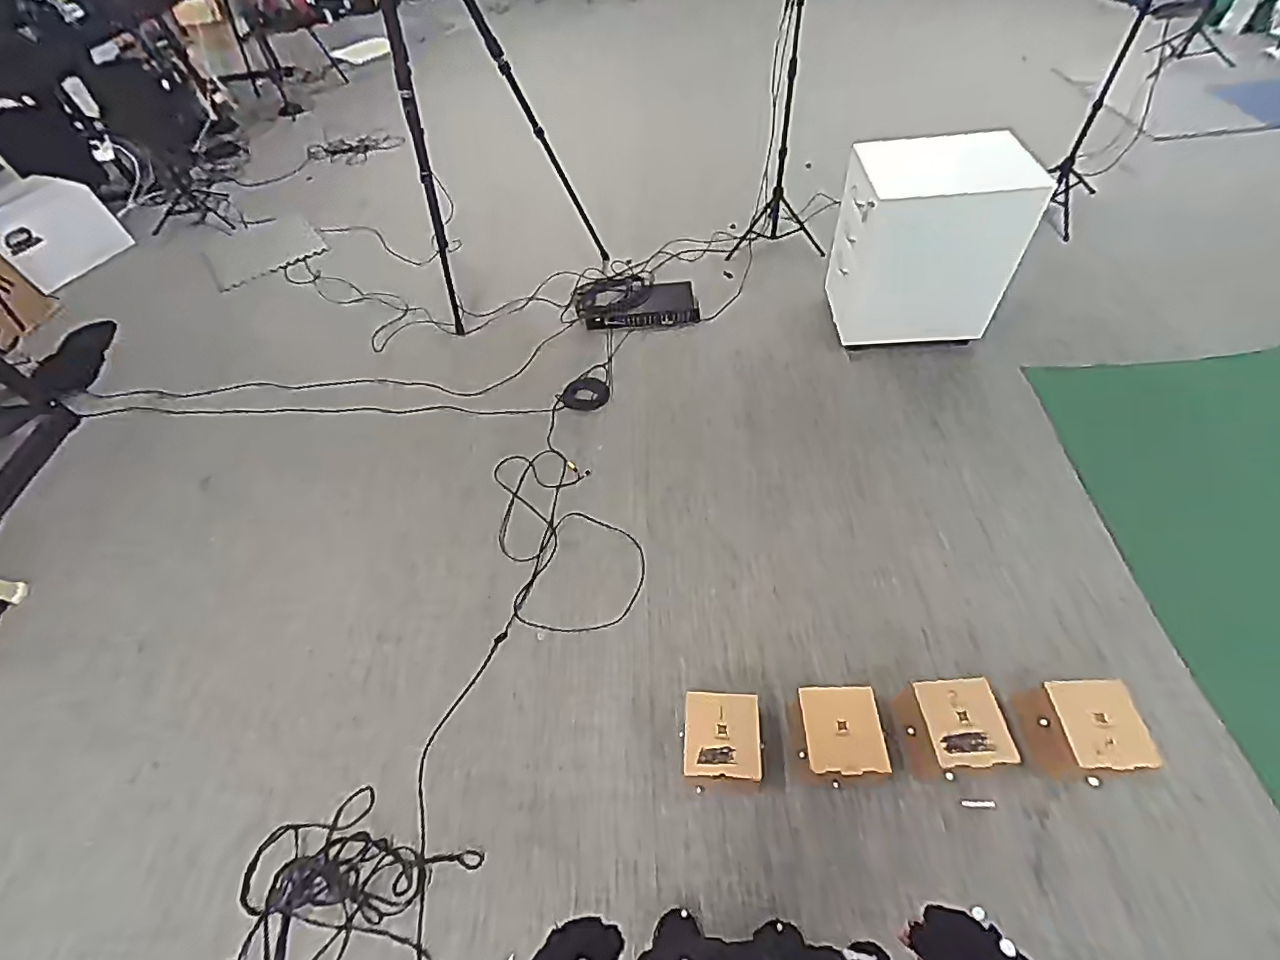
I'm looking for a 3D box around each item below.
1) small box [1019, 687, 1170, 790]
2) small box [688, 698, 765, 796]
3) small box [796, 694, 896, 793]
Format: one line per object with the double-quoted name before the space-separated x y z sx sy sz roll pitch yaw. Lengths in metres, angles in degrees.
"small box" 0.989 0.575 1.200 0.168 0.176 0.179 -3 53 5
"small box" 0.201 0.625 1.259 0.168 0.176 0.179 0 52 8
"small box" 0.462 0.606 1.242 0.168 0.176 0.179 -3 53 5
